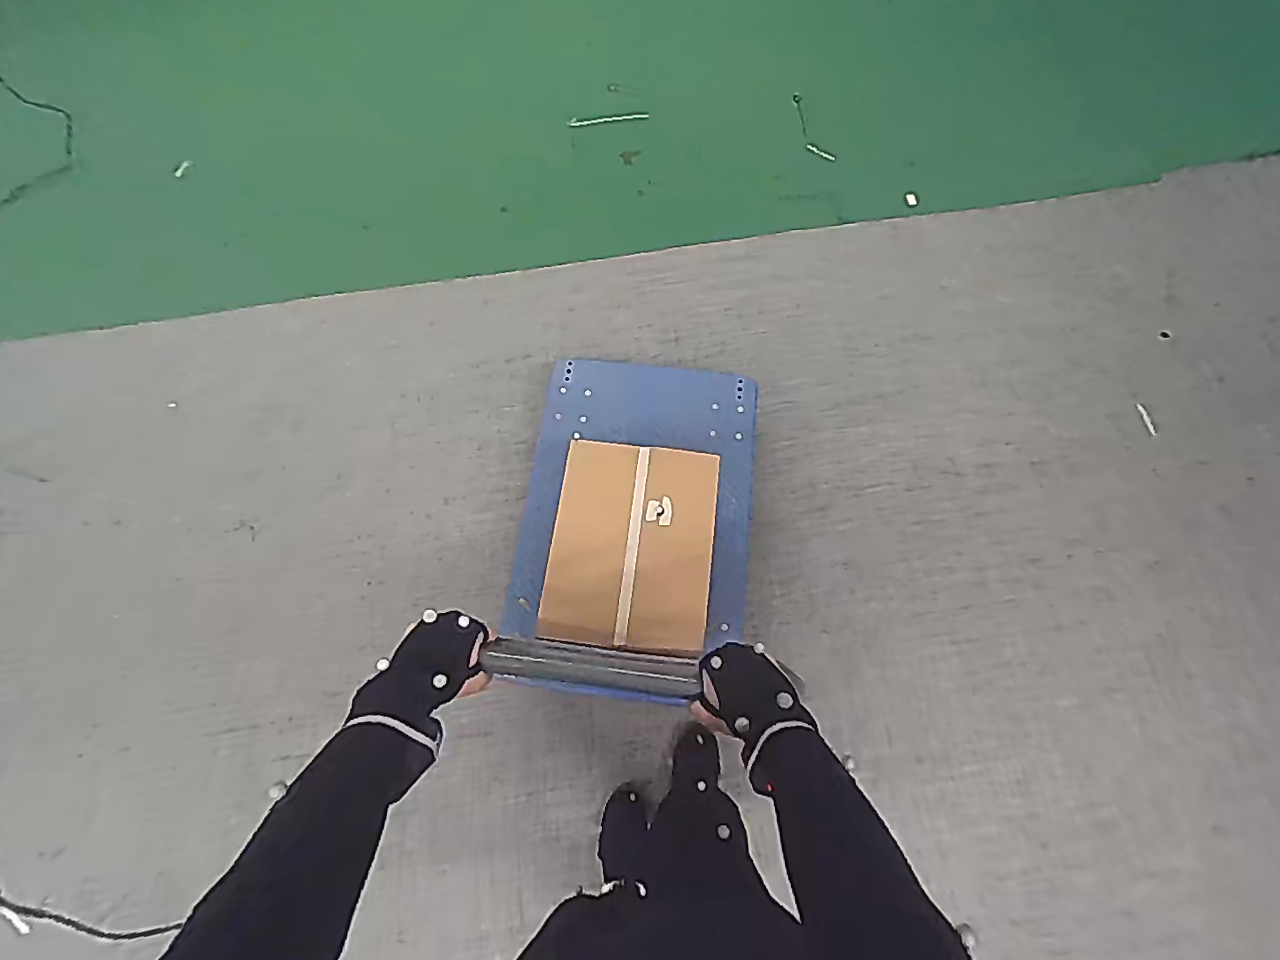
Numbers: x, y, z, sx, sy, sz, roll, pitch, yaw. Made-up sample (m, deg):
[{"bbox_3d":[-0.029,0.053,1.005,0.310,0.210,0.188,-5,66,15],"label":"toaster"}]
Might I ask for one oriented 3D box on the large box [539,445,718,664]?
[{"bbox_3d":[-0.012,0.179,1.196,0.320,0.320,0.408,7,70,2],"label":"large box"}]
